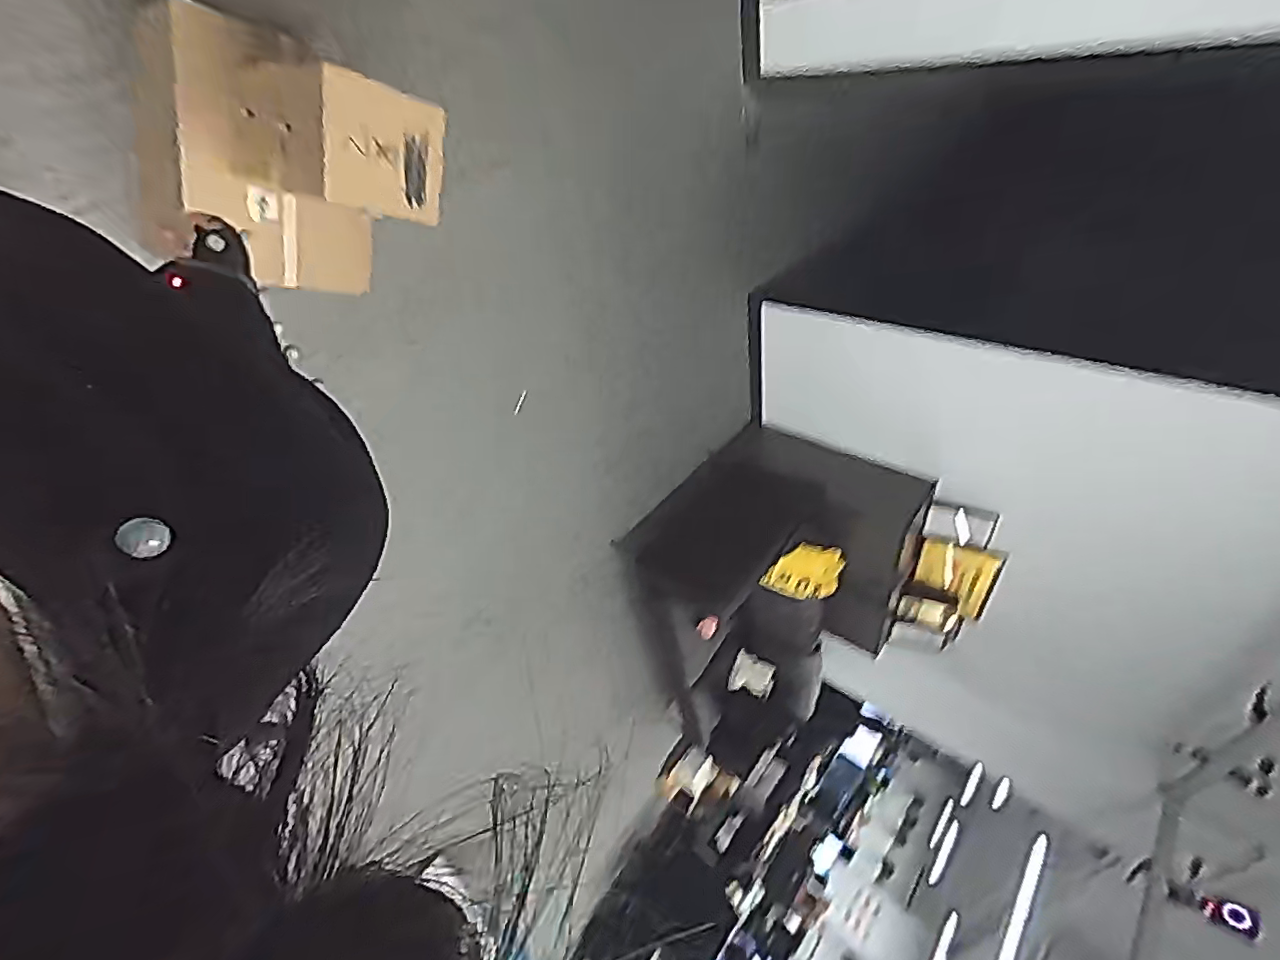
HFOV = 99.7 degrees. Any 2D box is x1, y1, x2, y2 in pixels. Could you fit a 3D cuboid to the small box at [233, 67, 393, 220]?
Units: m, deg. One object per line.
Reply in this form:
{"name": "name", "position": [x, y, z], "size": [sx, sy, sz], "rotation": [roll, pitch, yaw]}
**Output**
{"name": "small box", "position": [-0.554, -0.564, 0.918], "size": [0.179, 0.176, 0.168], "rotation": [-6, 116, -53]}
